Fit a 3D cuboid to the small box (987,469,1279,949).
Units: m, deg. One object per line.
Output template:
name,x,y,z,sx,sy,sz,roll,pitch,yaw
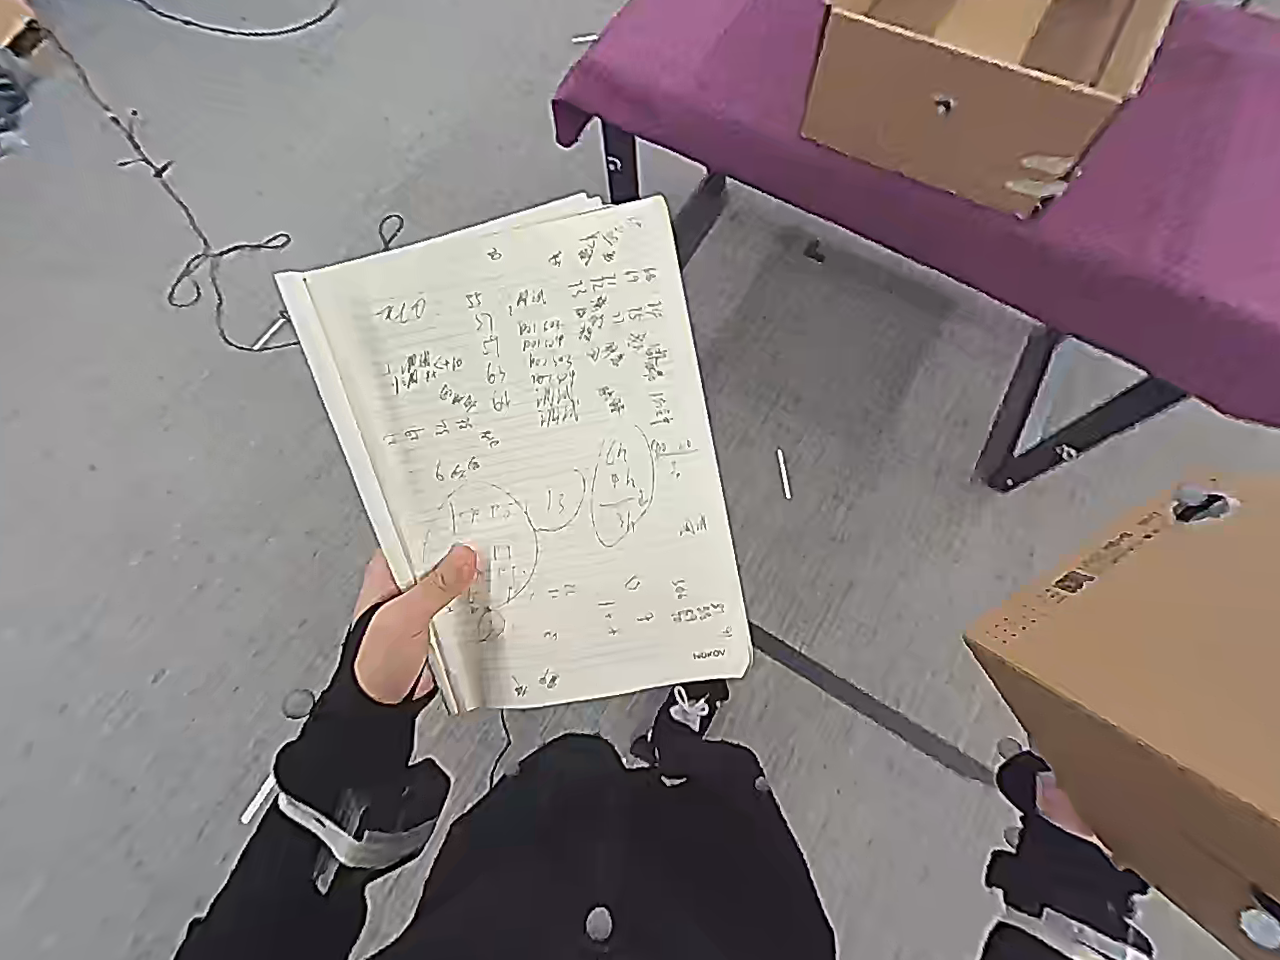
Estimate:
small box,0.310,0.108,0.243,0.168,0.176,0.179,-37,98,1
